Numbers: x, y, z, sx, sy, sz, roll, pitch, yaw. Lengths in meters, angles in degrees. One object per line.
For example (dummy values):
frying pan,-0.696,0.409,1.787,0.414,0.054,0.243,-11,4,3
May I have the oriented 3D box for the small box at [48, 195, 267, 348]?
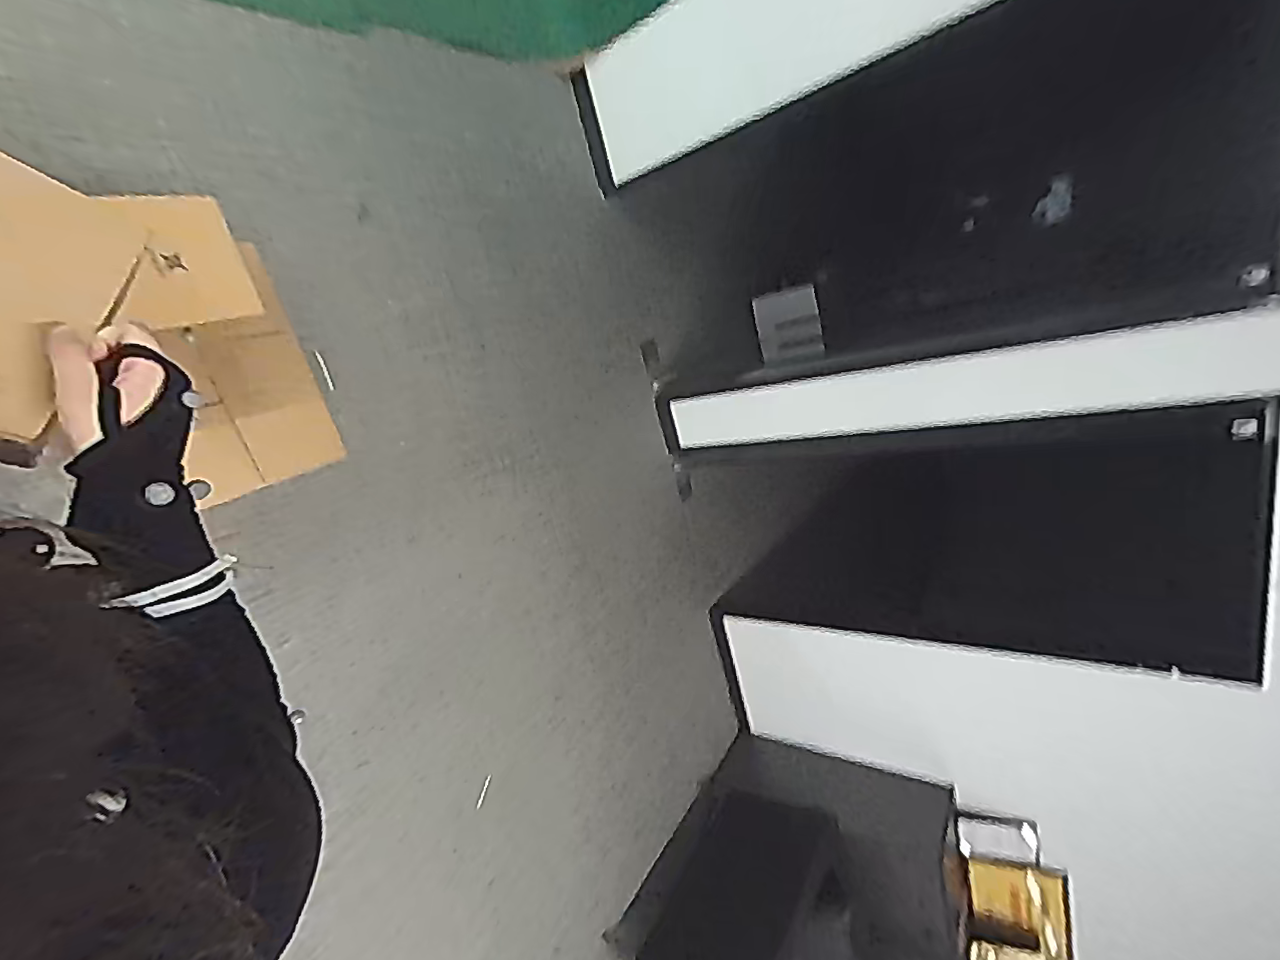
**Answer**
small box,-0.690,-0.296,0.778,0.179,0.176,0.168,-33,115,-45
